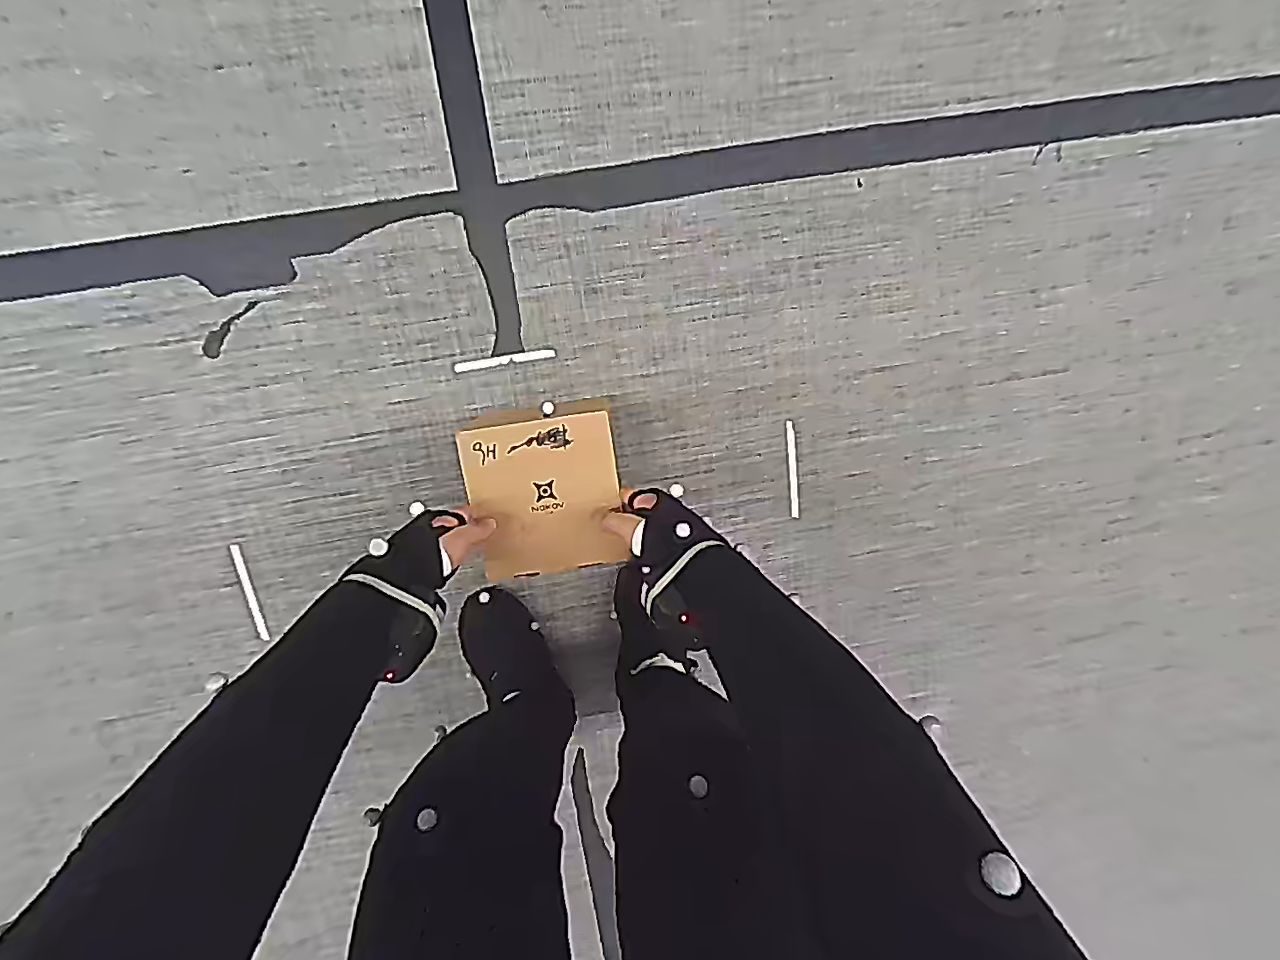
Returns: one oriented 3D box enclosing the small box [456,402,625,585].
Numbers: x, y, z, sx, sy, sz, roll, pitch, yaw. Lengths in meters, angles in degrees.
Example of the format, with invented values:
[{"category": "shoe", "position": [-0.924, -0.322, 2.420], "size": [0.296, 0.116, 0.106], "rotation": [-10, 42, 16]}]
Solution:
[{"category": "small box", "position": [-0.109, 0.007, 0.666], "size": [0.168, 0.176, 0.179], "rotation": [-8, 104, -2]}]
